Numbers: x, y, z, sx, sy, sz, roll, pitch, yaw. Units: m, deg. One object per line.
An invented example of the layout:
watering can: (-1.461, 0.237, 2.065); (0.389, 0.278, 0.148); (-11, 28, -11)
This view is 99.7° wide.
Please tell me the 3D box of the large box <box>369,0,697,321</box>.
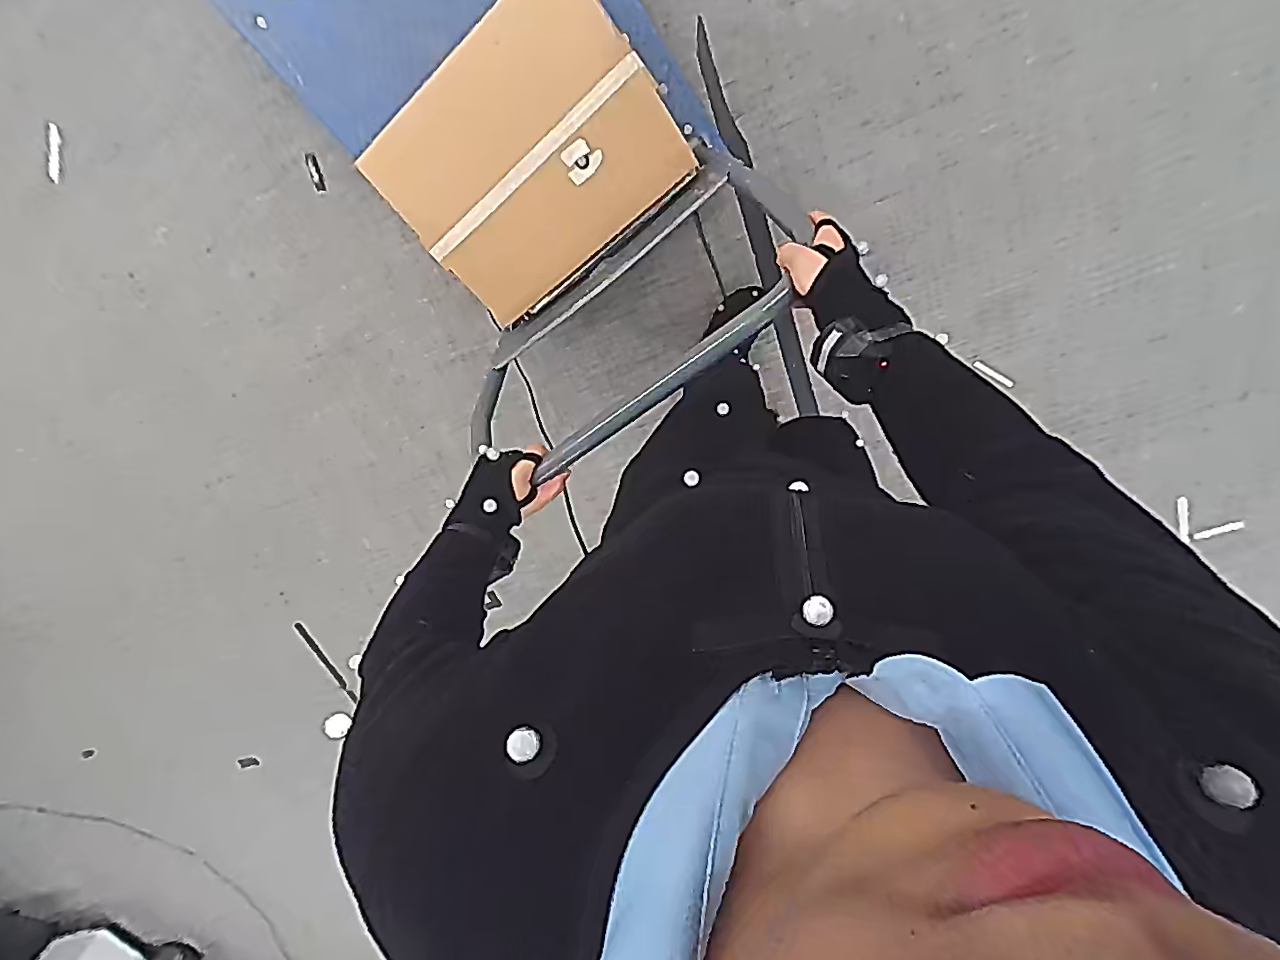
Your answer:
large box: (-0.165, -0.556, 0.930); (0.408, 0.320, 0.320); (-34, 119, 18)
